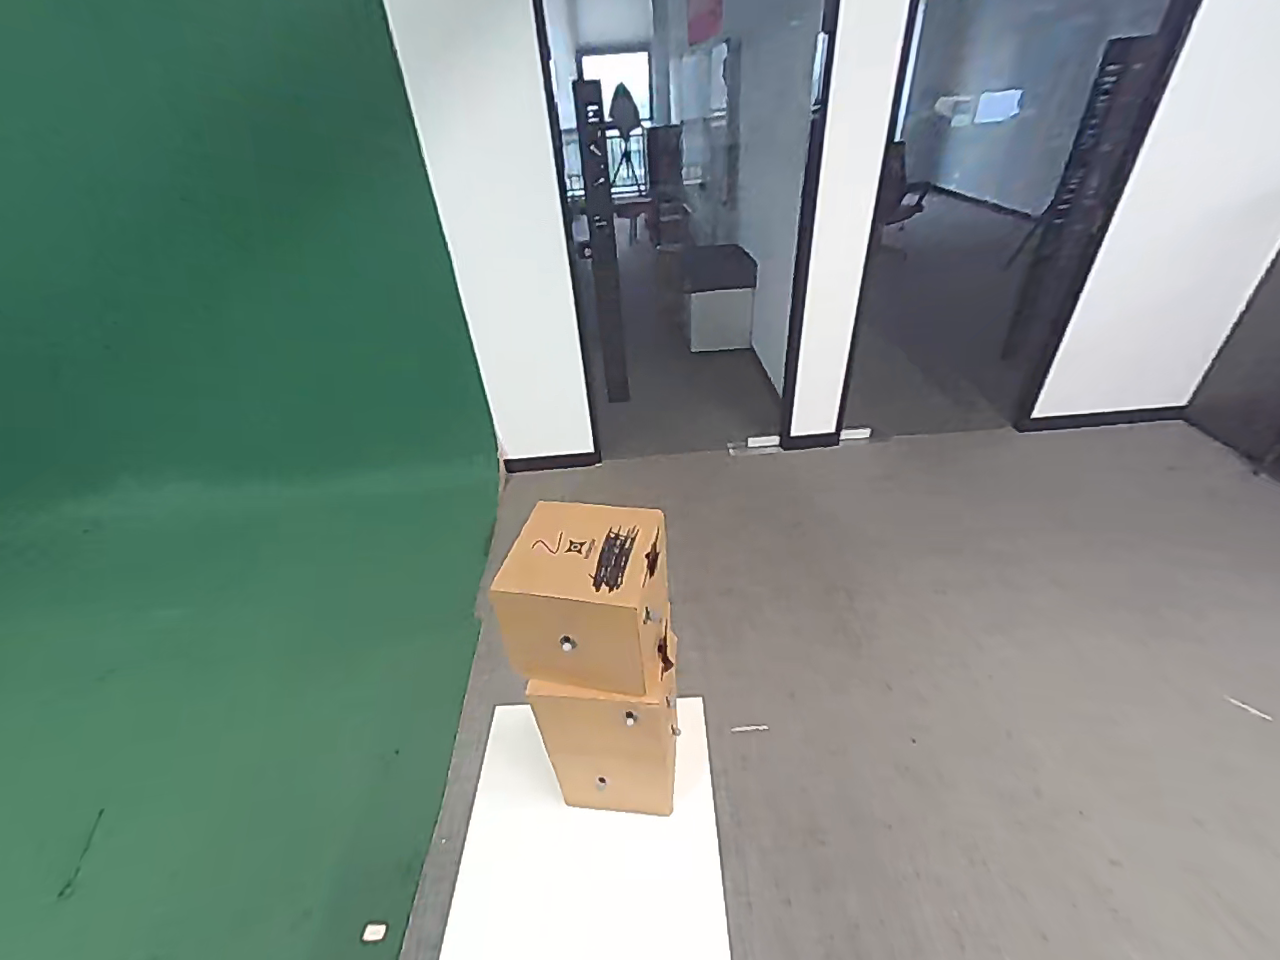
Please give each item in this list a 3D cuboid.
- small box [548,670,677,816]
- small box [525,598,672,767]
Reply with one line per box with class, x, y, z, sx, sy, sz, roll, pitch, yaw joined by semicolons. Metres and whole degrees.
small box;-0.034;0.423;0.884;0.179;0.176;0.168;1;37;8
small box;-0.048;0.293;0.787;0.179;0.176;0.168;1;36;7
